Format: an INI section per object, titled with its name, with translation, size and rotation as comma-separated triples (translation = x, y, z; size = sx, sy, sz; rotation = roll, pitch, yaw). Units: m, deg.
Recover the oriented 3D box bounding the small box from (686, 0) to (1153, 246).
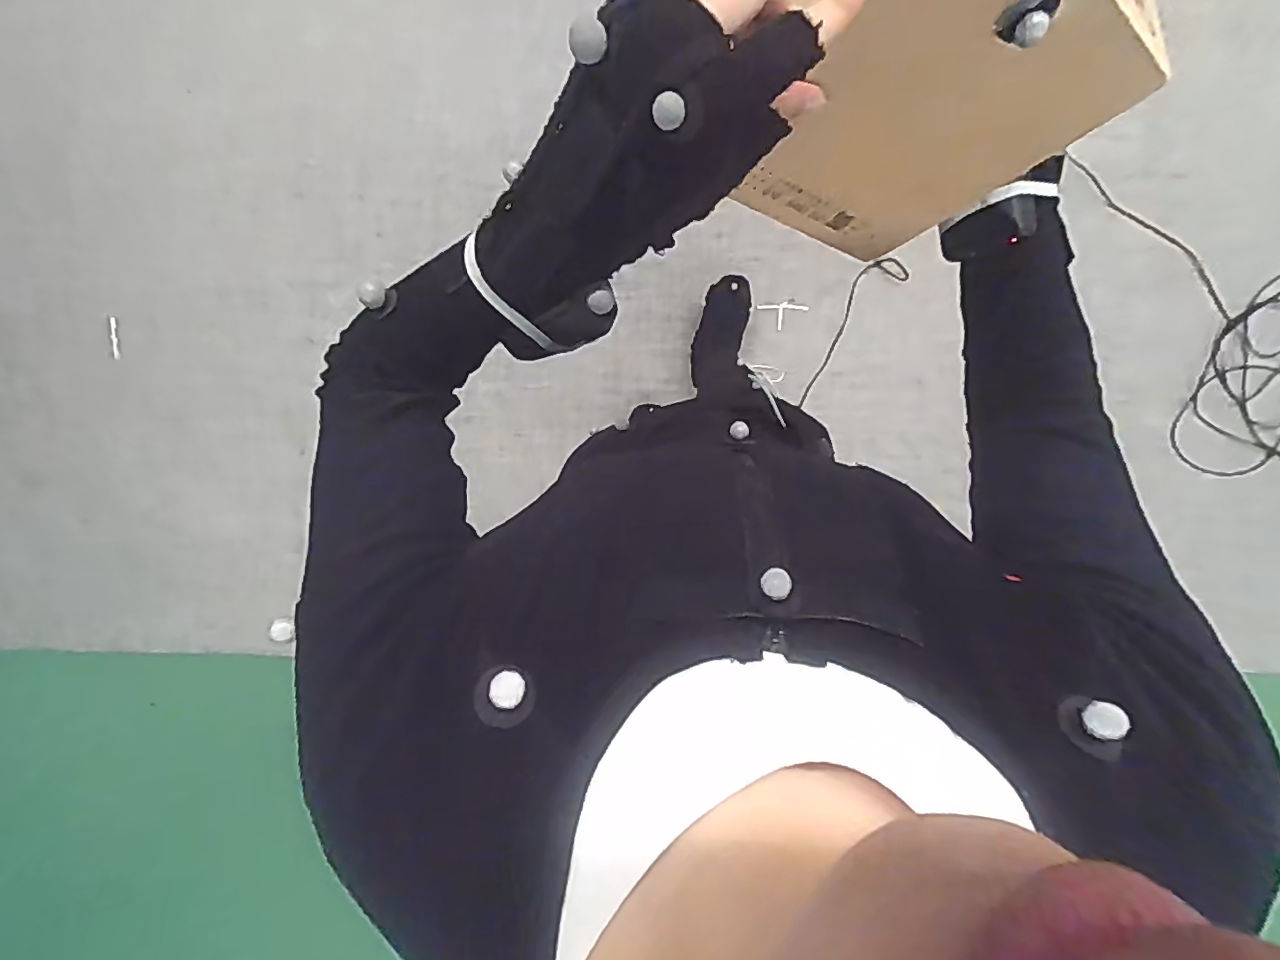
[small box]
translation = 0.139, -0.276, 0.310
size = 0.168, 0.176, 0.179
rotation = 6, 75, -32
